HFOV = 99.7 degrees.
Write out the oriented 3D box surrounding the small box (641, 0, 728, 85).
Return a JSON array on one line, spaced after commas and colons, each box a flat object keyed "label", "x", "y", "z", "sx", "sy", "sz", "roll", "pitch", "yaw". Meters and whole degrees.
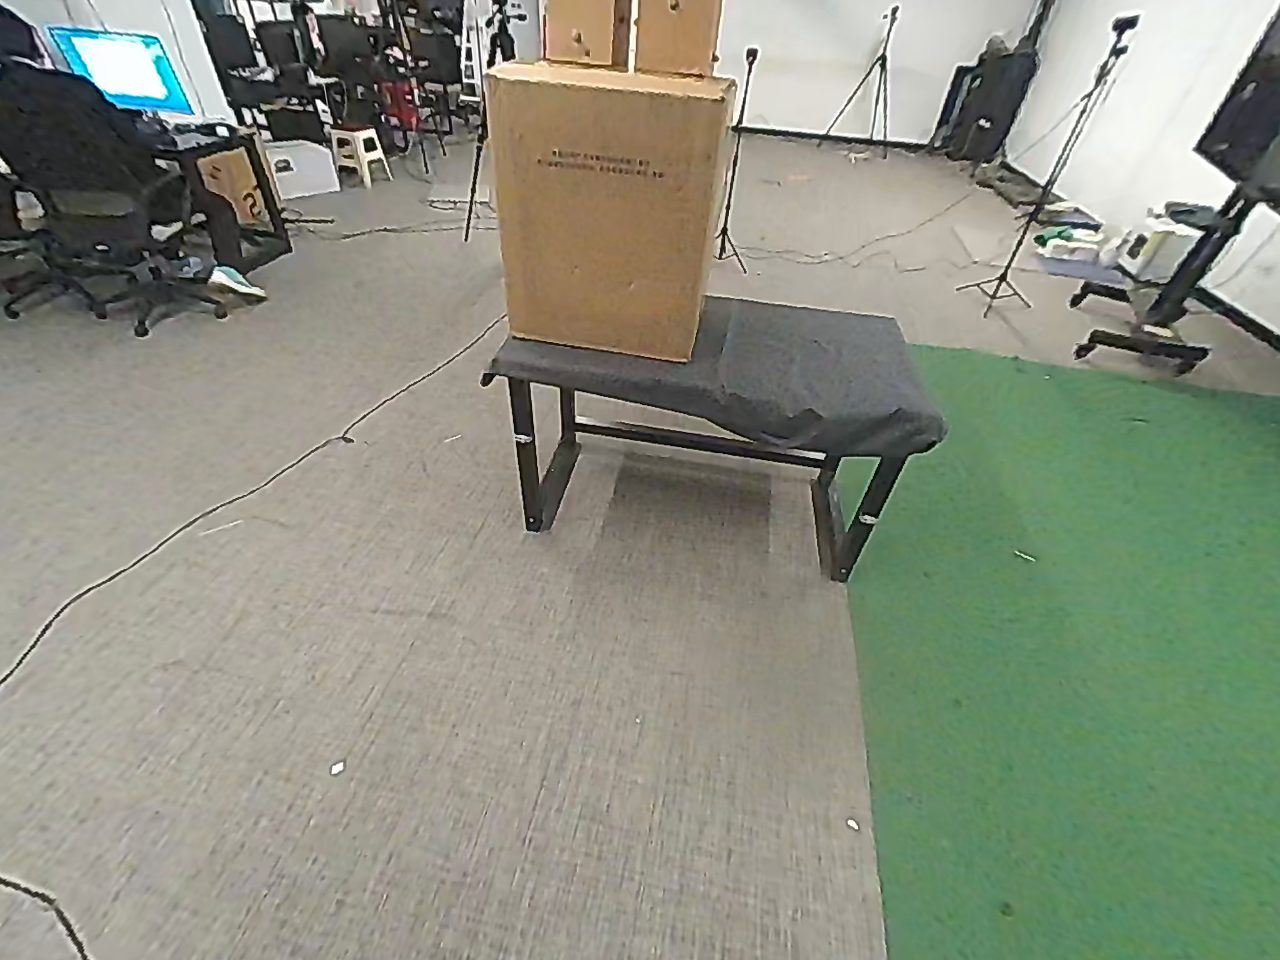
[{"label": "small box", "x": 0.104, "y": -1.059, "z": 1.292, "sx": 0.179, "sy": 0.176, "sz": 0.168, "roll": 11, "pitch": 39, "yaw": 6}]
